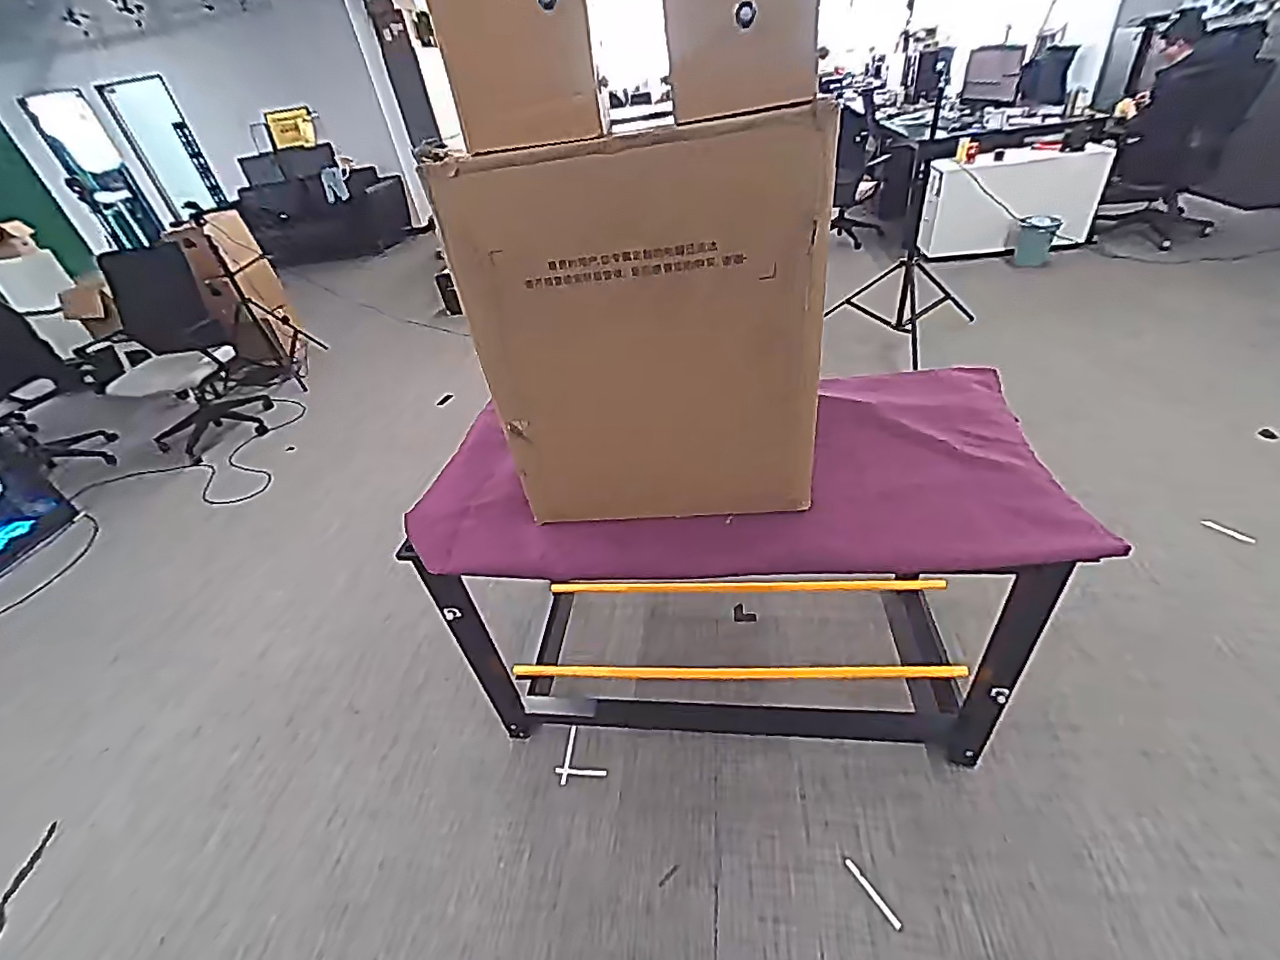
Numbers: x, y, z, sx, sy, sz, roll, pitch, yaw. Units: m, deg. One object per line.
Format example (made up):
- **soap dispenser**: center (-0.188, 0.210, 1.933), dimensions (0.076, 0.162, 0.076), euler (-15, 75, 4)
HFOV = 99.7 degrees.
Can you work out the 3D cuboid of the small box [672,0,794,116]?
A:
- **small box**: center (0.139, -0.663, 0.816), dimensions (0.168, 0.176, 0.179), euler (-3, 38, 11)
